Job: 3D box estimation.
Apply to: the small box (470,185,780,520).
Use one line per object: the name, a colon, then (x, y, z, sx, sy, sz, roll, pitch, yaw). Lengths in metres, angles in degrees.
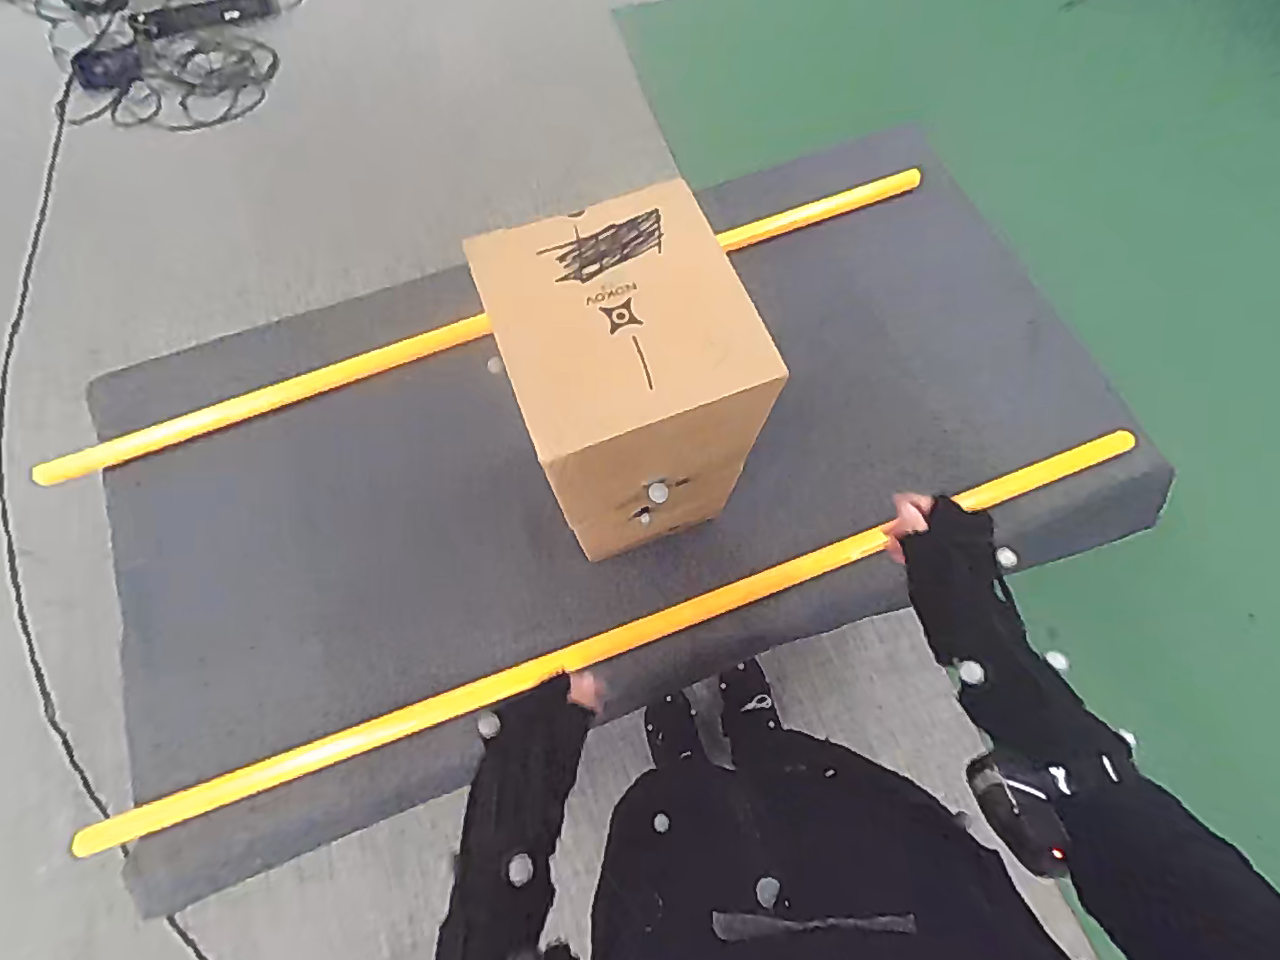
small box: (-0.016, -0.089, 0.437, 0.168, 0.176, 0.179, -20, 73, -7)

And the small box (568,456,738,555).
small box: (-0.013, -0.037, 0.593, 0.168, 0.176, 0.179, -20, 72, -6)
